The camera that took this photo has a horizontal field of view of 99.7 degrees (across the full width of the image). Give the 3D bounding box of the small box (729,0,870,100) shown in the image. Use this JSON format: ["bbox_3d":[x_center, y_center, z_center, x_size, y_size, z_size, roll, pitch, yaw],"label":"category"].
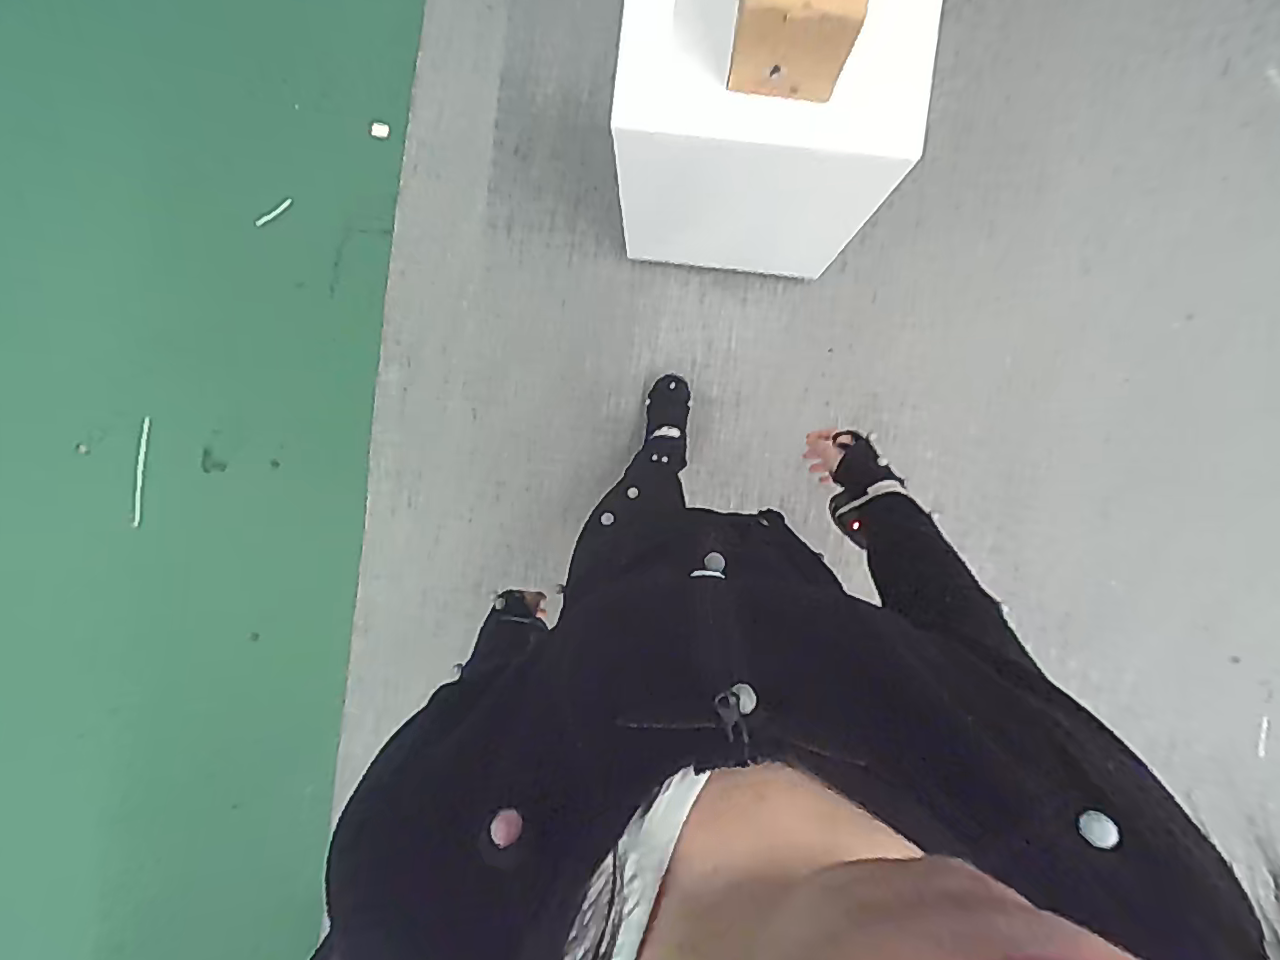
[{"bbox_3d":[0.228,-0.699,0.778,0.168,0.176,0.179,8,91,2],"label":"small box"}]
